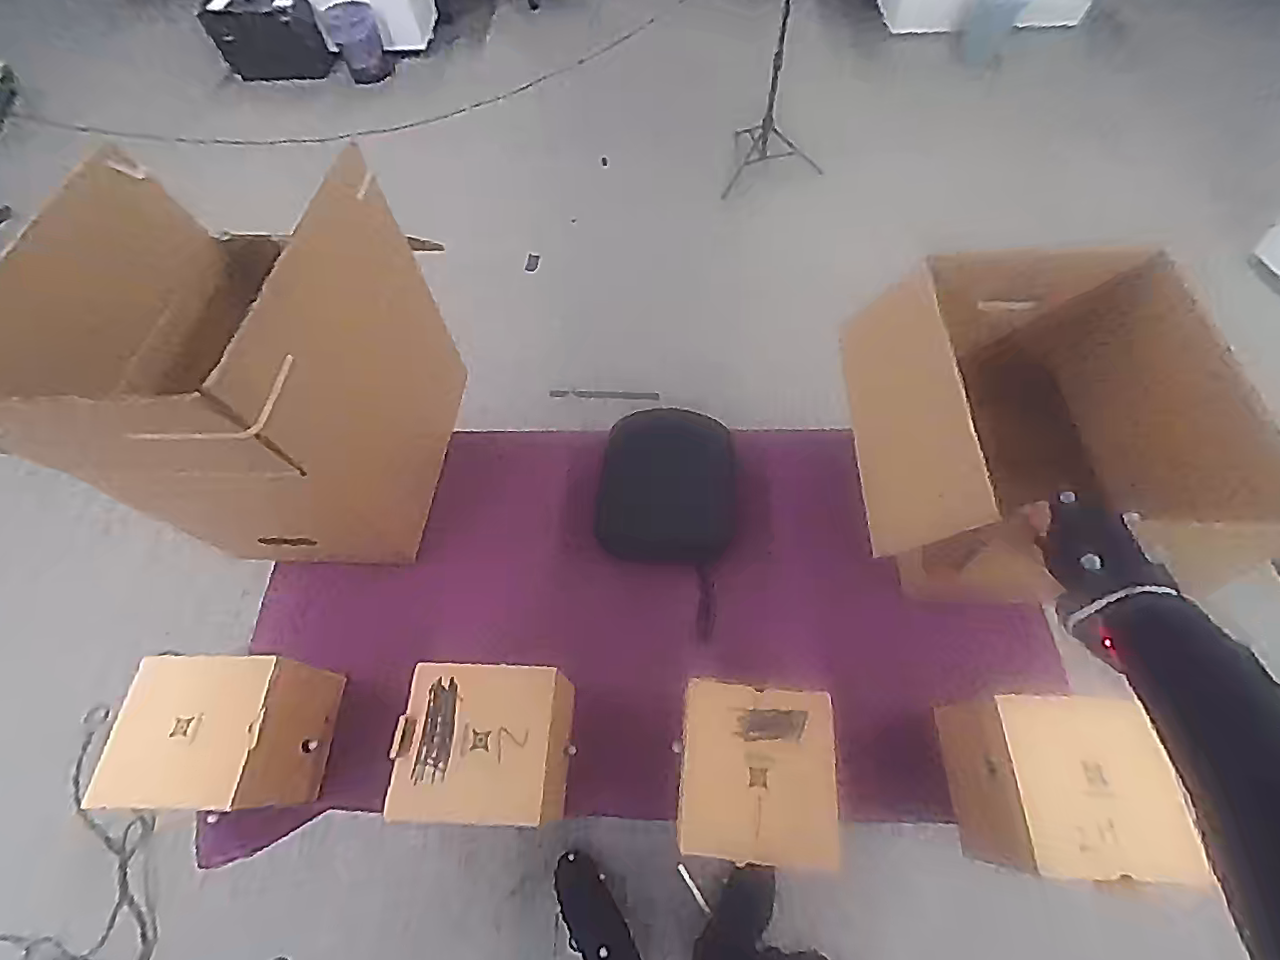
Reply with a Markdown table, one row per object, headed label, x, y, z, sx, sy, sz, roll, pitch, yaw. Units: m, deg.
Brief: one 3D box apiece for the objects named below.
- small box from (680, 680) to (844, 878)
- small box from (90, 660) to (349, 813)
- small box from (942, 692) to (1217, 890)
| label | x | y | z | sx | sy | sz | roll | pitch | yaw |
| --- | --- | --- | --- | --- | --- | --- | --- | --- | --- |
| small box | 0.138 | 0.356 | 0.661 | 0.168 | 0.176 | 0.179 | 4 | 63 | 6 |
| small box | -0.524 | 0.336 | 0.707 | 0.179 | 0.176 | 0.168 | -1 | 61 | 1 |
| small box | 0.487 | 0.358 | 0.639 | 0.168 | 0.176 | 0.179 | 0 | 61 | 5 |
